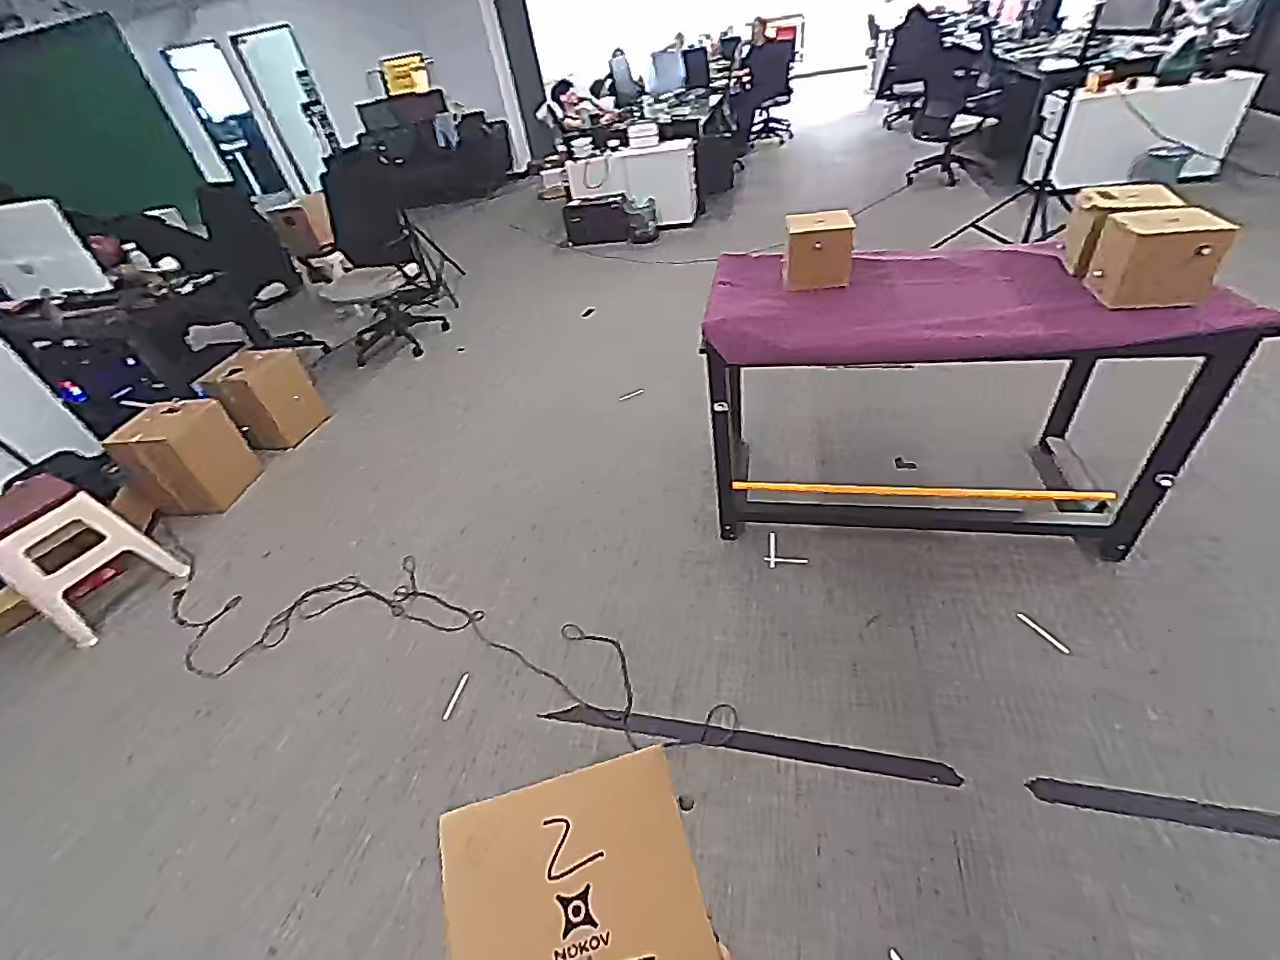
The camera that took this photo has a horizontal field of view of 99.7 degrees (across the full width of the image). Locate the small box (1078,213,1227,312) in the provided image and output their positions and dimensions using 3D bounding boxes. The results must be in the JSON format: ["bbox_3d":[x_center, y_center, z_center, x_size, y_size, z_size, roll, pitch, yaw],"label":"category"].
[{"bbox_3d":[1.172,-0.501,1.255,0.179,0.176,0.168,2,39,16],"label":"small box"}]

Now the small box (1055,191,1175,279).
[{"bbox_3d":[1.212,-0.632,1.402,0.179,0.176,0.168,6,44,18],"label":"small box"}]

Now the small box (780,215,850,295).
[{"bbox_3d":[0.510,-0.661,1.595,0.179,0.176,0.168,-1,40,11],"label":"small box"}]
